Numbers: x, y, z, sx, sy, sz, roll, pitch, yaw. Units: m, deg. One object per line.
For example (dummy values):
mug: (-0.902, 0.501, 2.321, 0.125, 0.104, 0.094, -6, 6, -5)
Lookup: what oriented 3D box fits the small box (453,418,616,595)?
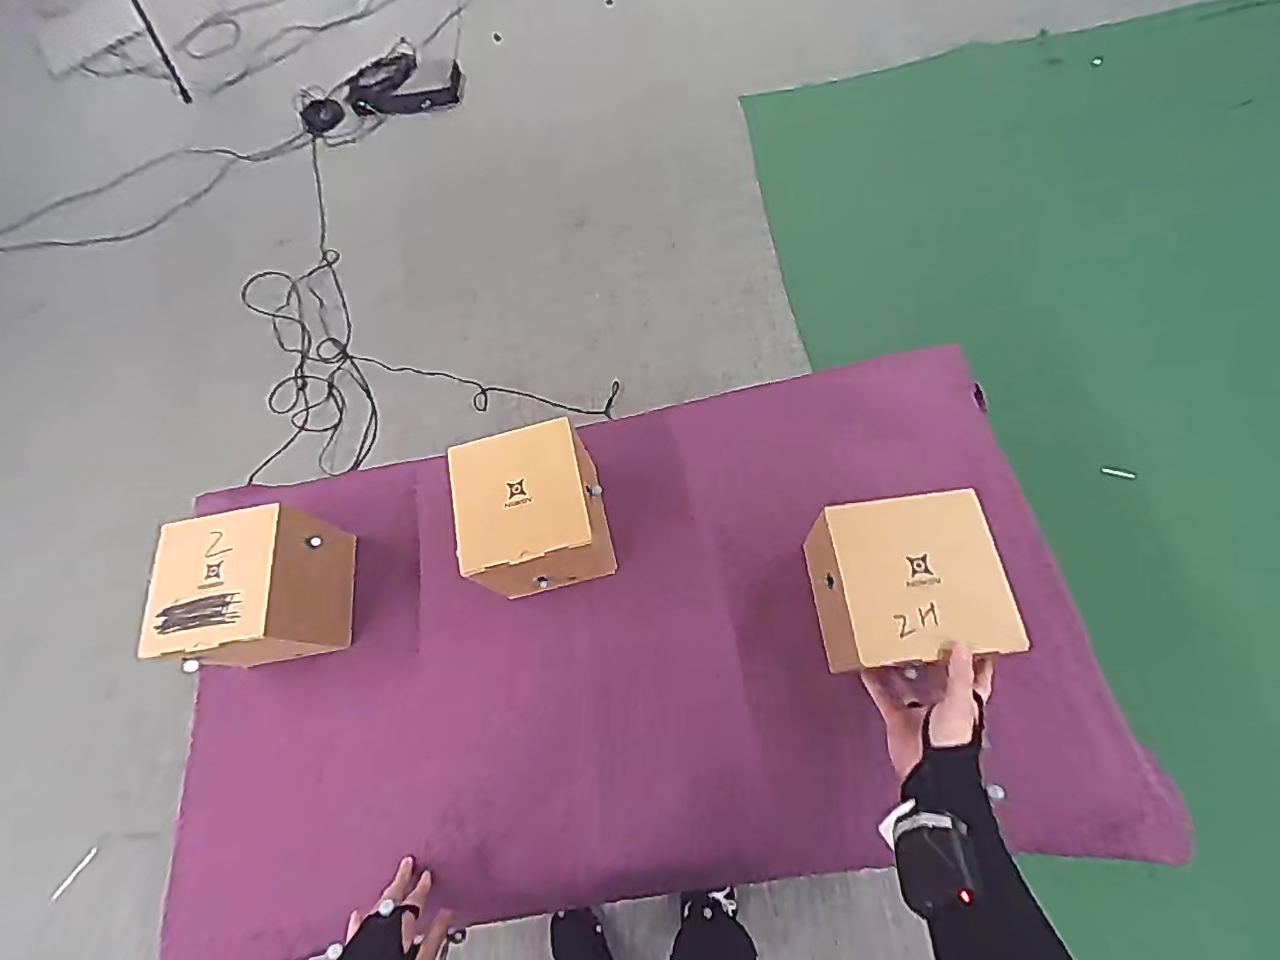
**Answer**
small box: (-0.138, 0.044, 0.742, 0.168, 0.176, 0.179, -15, 69, 2)
